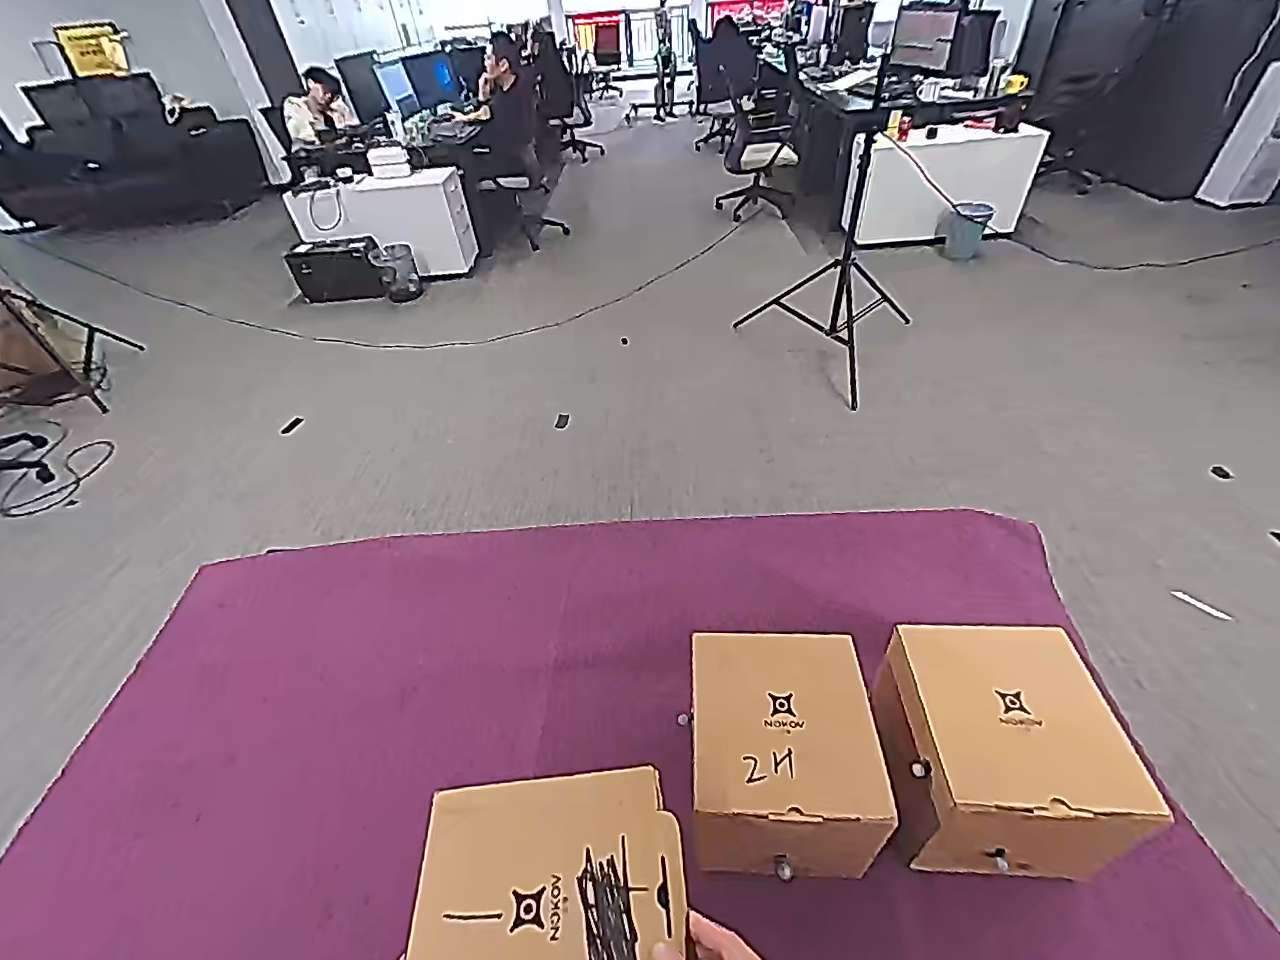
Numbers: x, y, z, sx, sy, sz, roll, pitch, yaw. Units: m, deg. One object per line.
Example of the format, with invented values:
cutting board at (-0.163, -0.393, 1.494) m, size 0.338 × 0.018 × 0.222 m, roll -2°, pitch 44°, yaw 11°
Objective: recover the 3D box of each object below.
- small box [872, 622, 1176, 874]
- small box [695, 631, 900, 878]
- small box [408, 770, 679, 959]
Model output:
small box at (0.350, 0.265, 0.545) m, size 0.168 × 0.176 × 0.179 m, roll -2°, pitch 41°, yaw 6°
small box at (0.141, 0.278, 0.557) m, size 0.168 × 0.176 × 0.179 m, roll -2°, pitch 41°, yaw 6°
small box at (-0.061, 0.347, 0.418) m, size 0.179 × 0.176 × 0.168 m, roll -6°, pitch 43°, yaw -1°
